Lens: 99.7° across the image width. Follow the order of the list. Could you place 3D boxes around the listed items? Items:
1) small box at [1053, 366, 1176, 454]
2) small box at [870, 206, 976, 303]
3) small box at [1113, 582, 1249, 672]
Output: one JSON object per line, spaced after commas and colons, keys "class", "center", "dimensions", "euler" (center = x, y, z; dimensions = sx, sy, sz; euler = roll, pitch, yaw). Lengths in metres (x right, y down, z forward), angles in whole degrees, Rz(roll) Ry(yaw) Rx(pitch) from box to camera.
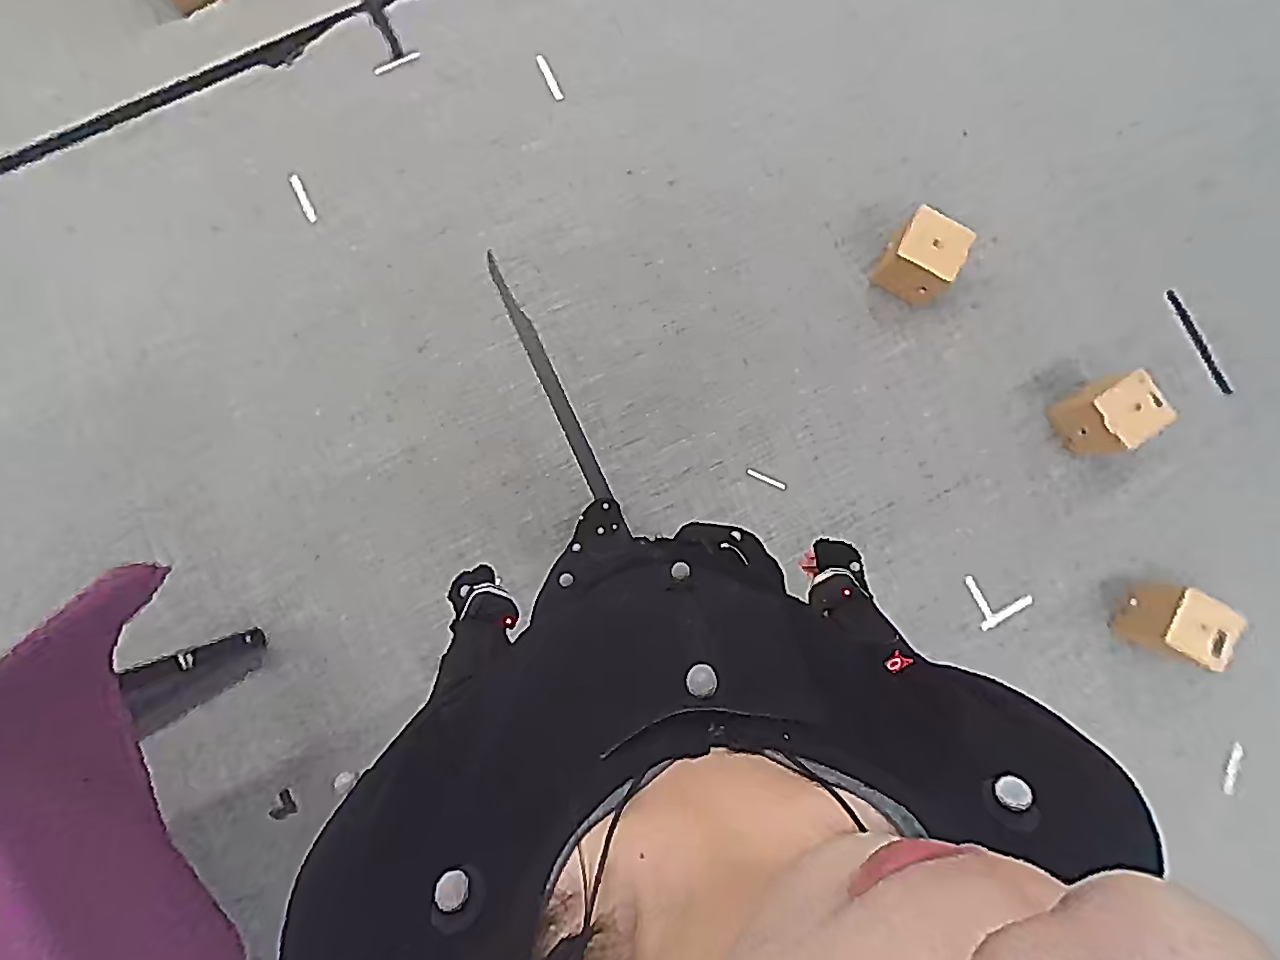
{"class": "small box", "center": [1.323, -0.189, 1.527], "dimensions": [0.179, 0.176, 0.168], "euler": [-34, 88, -3]}
{"class": "small box", "center": [0.797, -0.630, 1.539], "dimensions": [0.179, 0.176, 0.168], "euler": [27, 84, 1]}
{"class": "small box", "center": [1.482, 0.395, 1.492], "dimensions": [0.179, 0.176, 0.168], "euler": [29, 85, 1]}
